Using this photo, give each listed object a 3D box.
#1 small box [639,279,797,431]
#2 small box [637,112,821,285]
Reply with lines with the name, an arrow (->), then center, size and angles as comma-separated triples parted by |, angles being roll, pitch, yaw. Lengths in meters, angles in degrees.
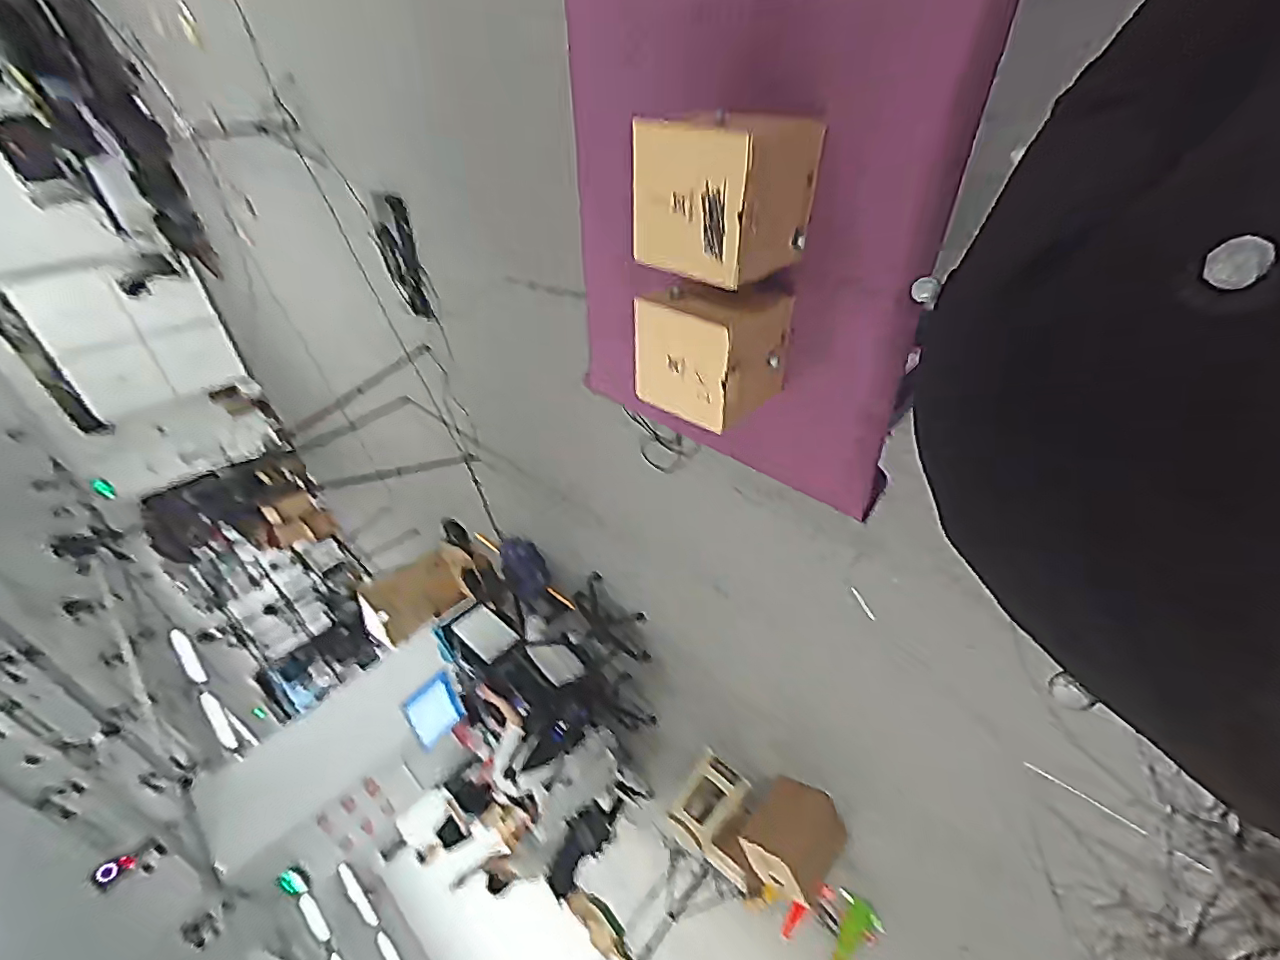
small box -> 0.117, -0.206, 0.853 | 0.179, 0.176, 0.168 | 29, 137, 33
small box -> 0.119, -0.382, 0.722 | 0.179, 0.176, 0.168 | 27, 139, 32
